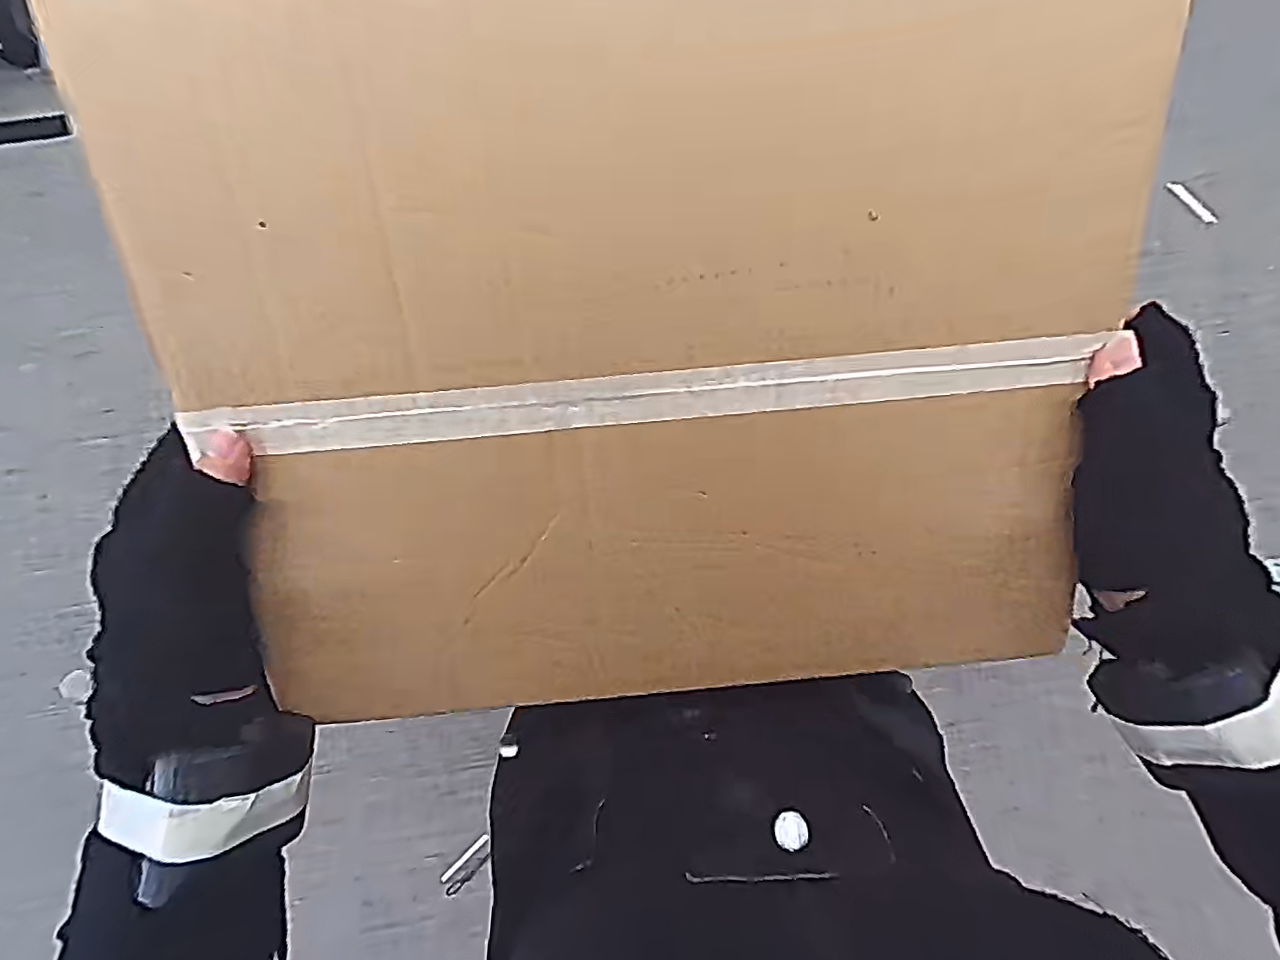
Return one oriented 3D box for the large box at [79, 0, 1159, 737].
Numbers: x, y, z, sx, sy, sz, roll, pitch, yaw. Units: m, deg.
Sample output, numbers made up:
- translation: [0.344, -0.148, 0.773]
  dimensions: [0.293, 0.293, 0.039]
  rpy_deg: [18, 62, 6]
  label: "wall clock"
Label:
- translation: [0.003, -0.075, 0.385]
  dimensions: [0.408, 0.320, 0.320]
  rpy_deg: [-6, 109, -2]
  label: "large box"
